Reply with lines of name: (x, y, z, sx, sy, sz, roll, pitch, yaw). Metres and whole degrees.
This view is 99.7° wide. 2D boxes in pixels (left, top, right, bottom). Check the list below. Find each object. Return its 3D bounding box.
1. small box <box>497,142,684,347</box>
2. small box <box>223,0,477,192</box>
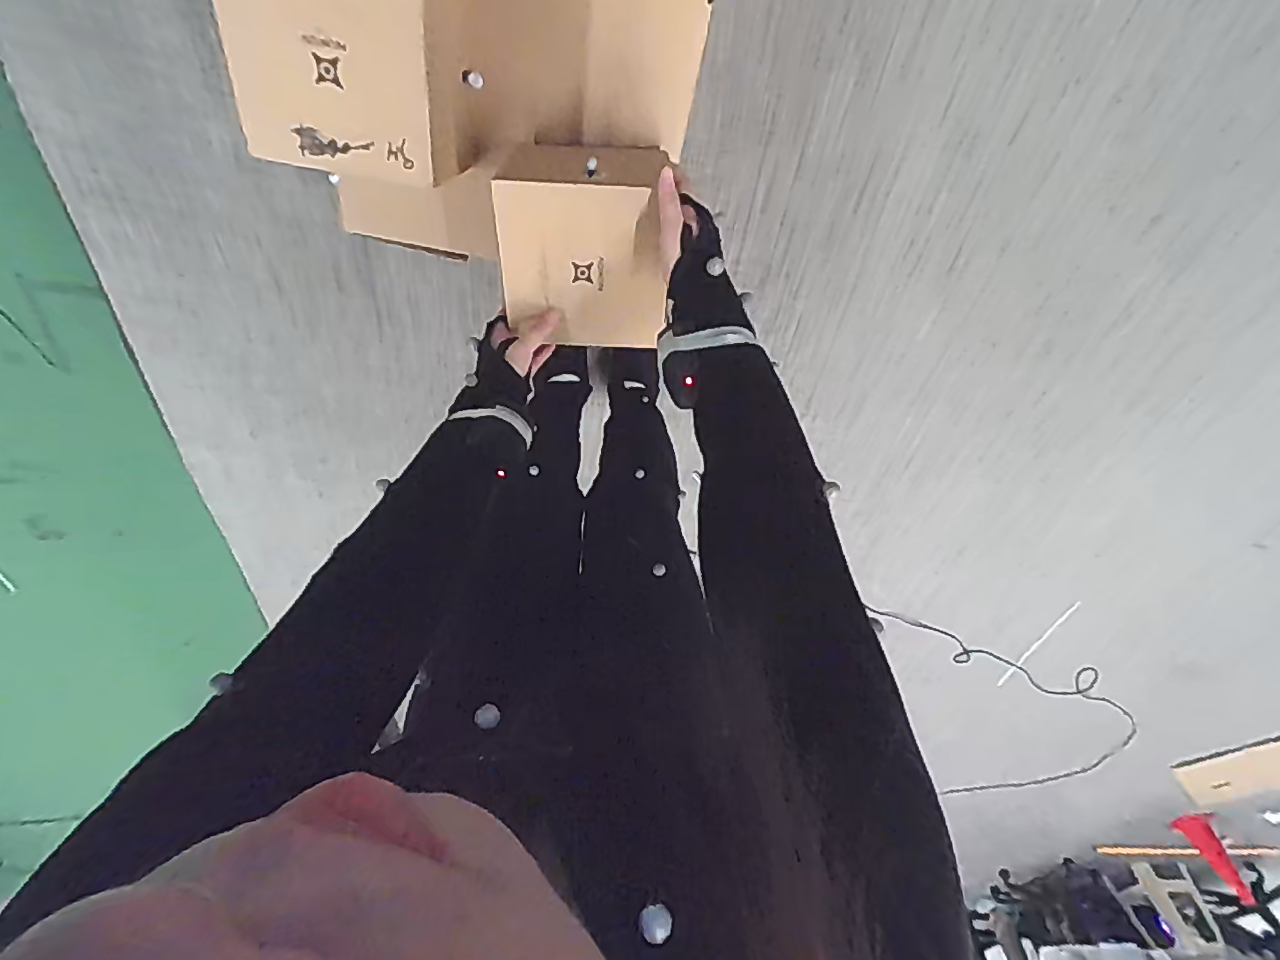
small box: (-0.052, -0.267, 0.609, 0.179, 0.176, 0.168, 2, 132, -2)
small box: (-0.256, -0.399, 0.515, 0.168, 0.176, 0.179, 7, 126, -7)
